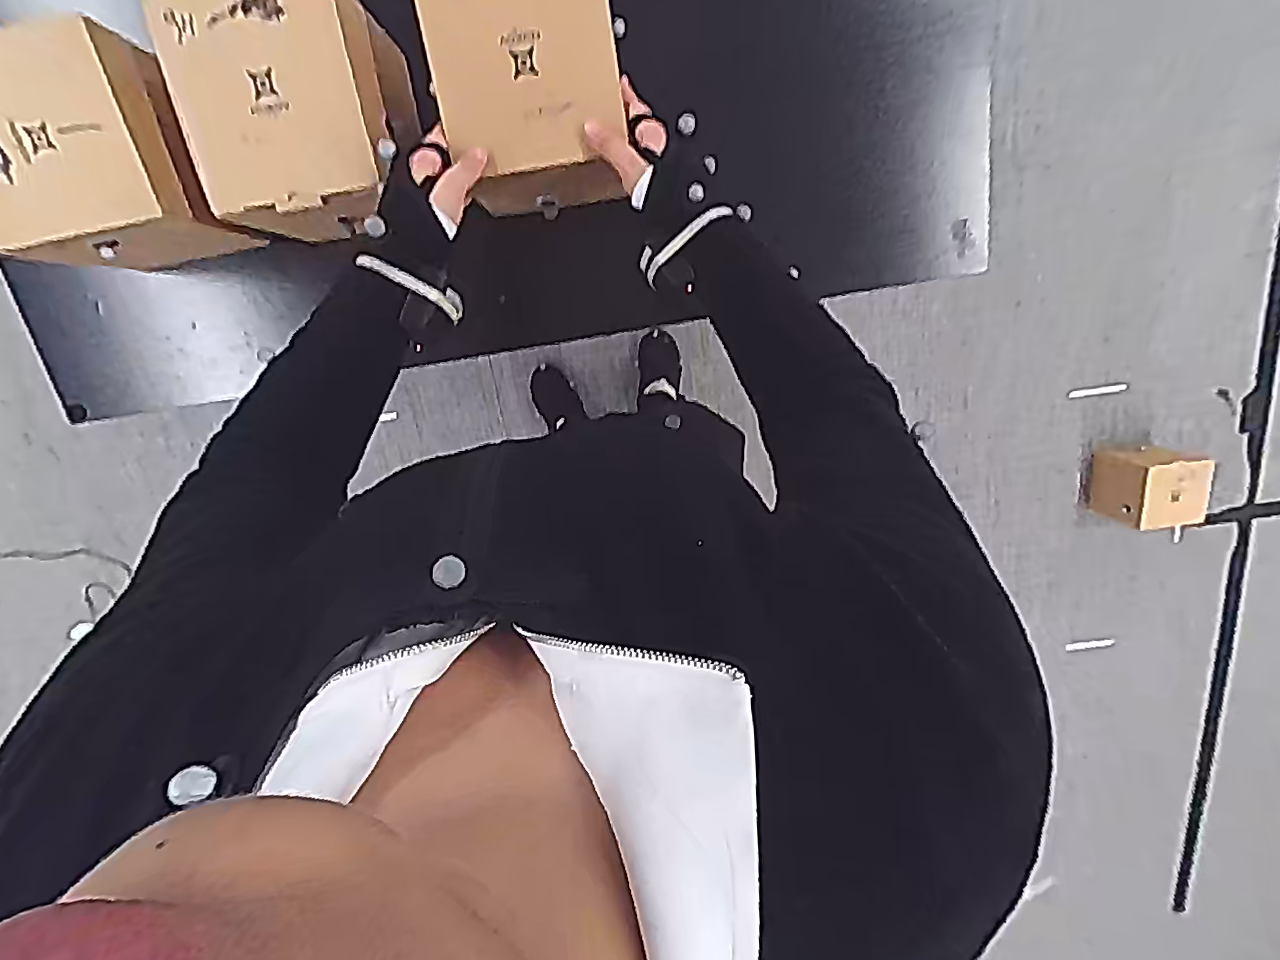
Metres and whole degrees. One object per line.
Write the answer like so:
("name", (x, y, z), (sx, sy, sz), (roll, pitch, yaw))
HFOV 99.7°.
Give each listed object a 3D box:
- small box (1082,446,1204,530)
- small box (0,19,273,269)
("small box", (1.343, 0.018, 1.458), (0.168, 0.176, 0.179), (-7, 106, 1))
("small box", (-0.544, -0.330, 0.571), (0.179, 0.176, 0.168), (-11, 106, 1))
